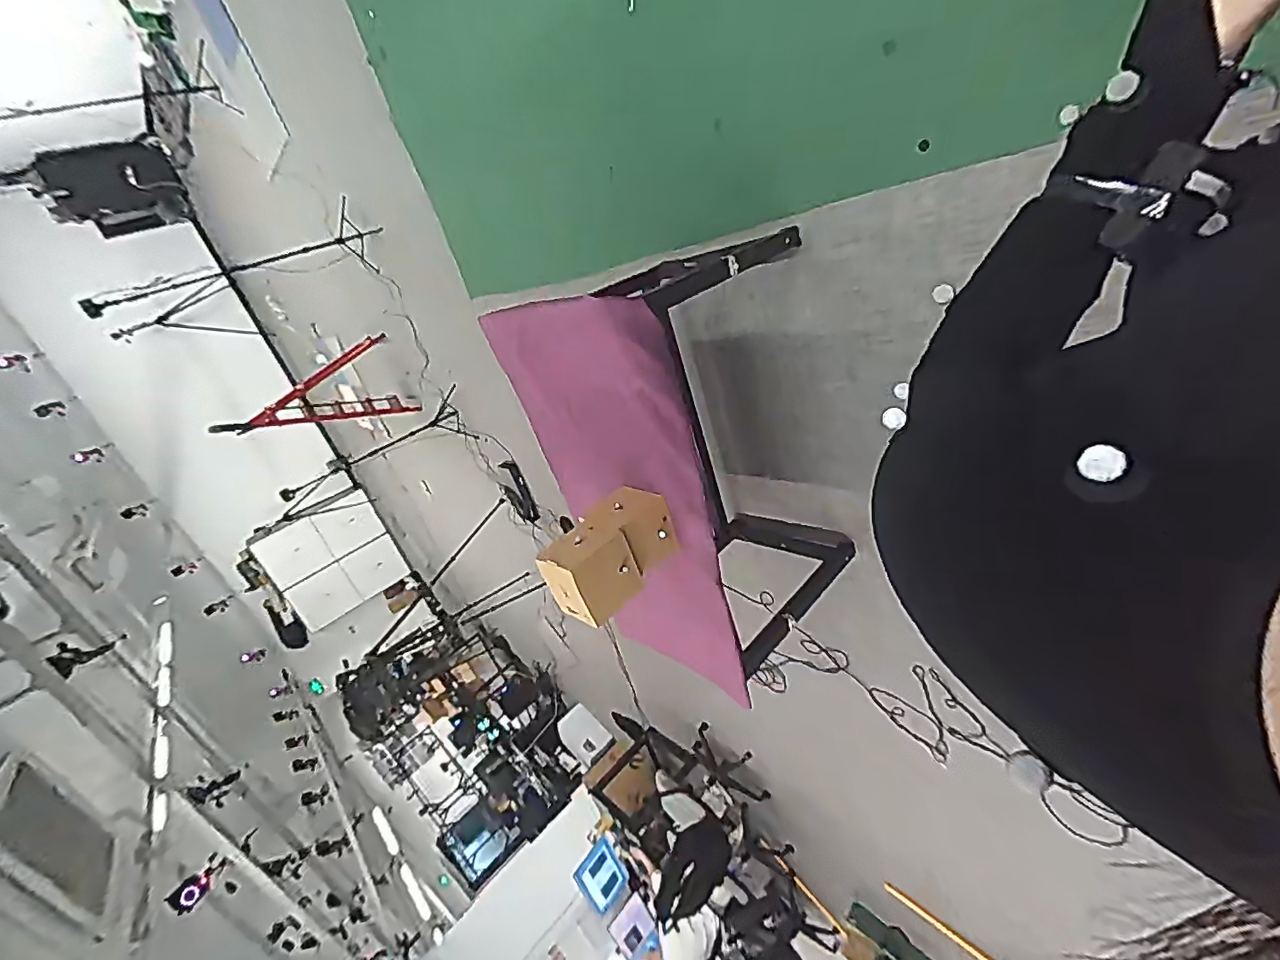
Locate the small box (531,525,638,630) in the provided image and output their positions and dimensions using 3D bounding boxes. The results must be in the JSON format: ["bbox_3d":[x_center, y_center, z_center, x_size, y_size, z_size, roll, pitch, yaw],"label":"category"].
[{"bbox_3d":[-0.134,0.232,1.339,0.168,0.176,0.179,9,125,49],"label":"small box"}]

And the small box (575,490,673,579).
[{"bbox_3d":[-0.040,0.143,1.443,0.179,0.176,0.168,12,129,47],"label":"small box"}]
